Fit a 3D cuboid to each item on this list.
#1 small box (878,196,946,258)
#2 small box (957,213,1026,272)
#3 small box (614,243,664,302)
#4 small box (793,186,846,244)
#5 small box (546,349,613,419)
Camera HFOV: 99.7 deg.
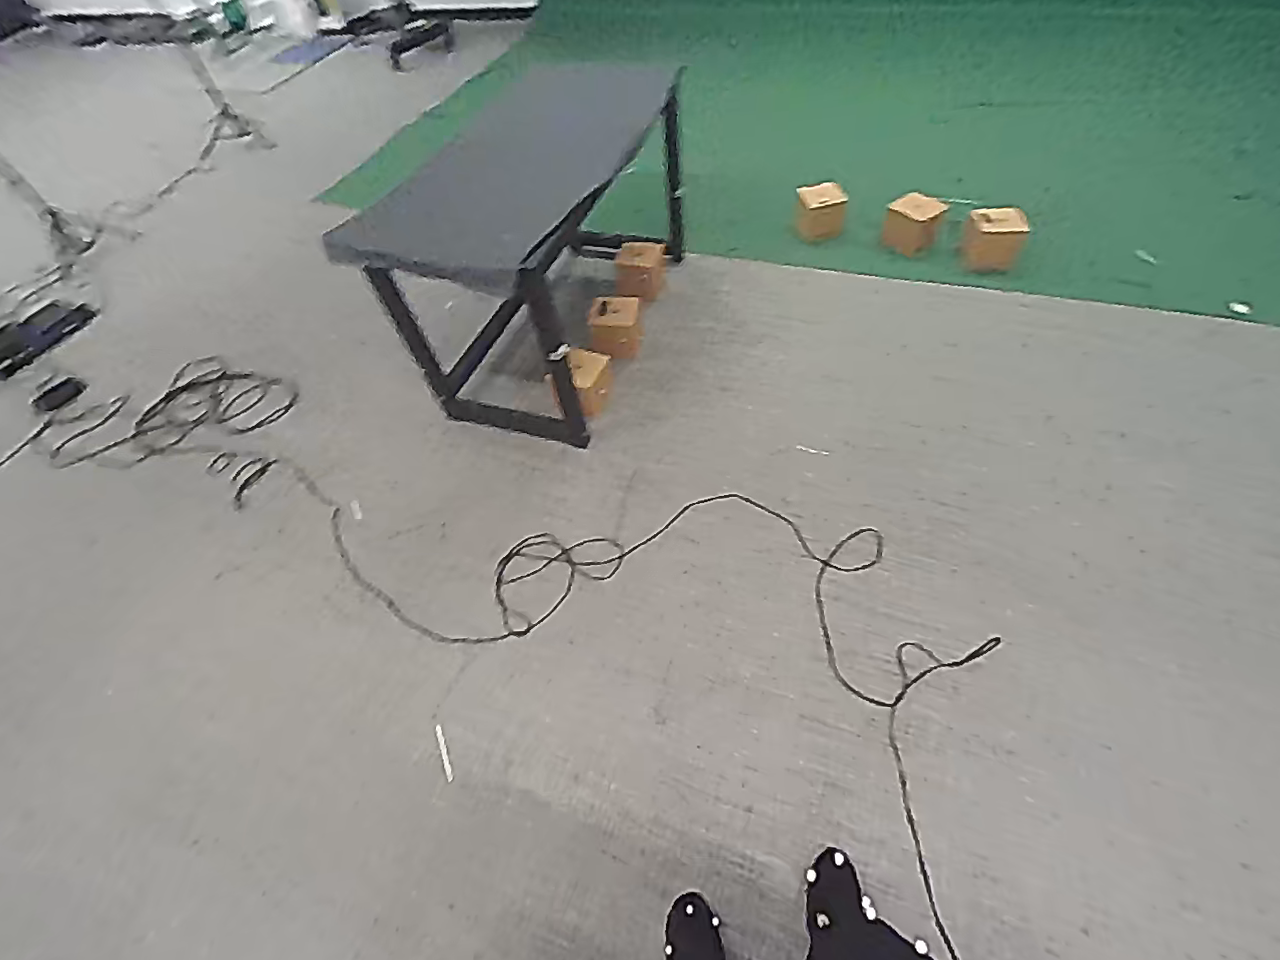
[{"bbox_3d":[1.163,-1.081,2.325,0.168,0.176,0.179,-32,57,-17],"label":"small box"},{"bbox_3d":[1.428,-0.969,2.215,0.179,0.176,0.168,1,55,6],"label":"small box"},{"bbox_3d":[0.001,-0.887,2.320,0.179,0.176,0.168,10,56,13],"label":"small box"},{"bbox_3d":[0.806,-1.200,2.451,0.168,0.176,0.179,-13,54,-2],"label":"small box"},{"bbox_3d":[-0.212,-0.345,1.969,0.179,0.176,0.168,17,59,18],"label":"small box"}]
